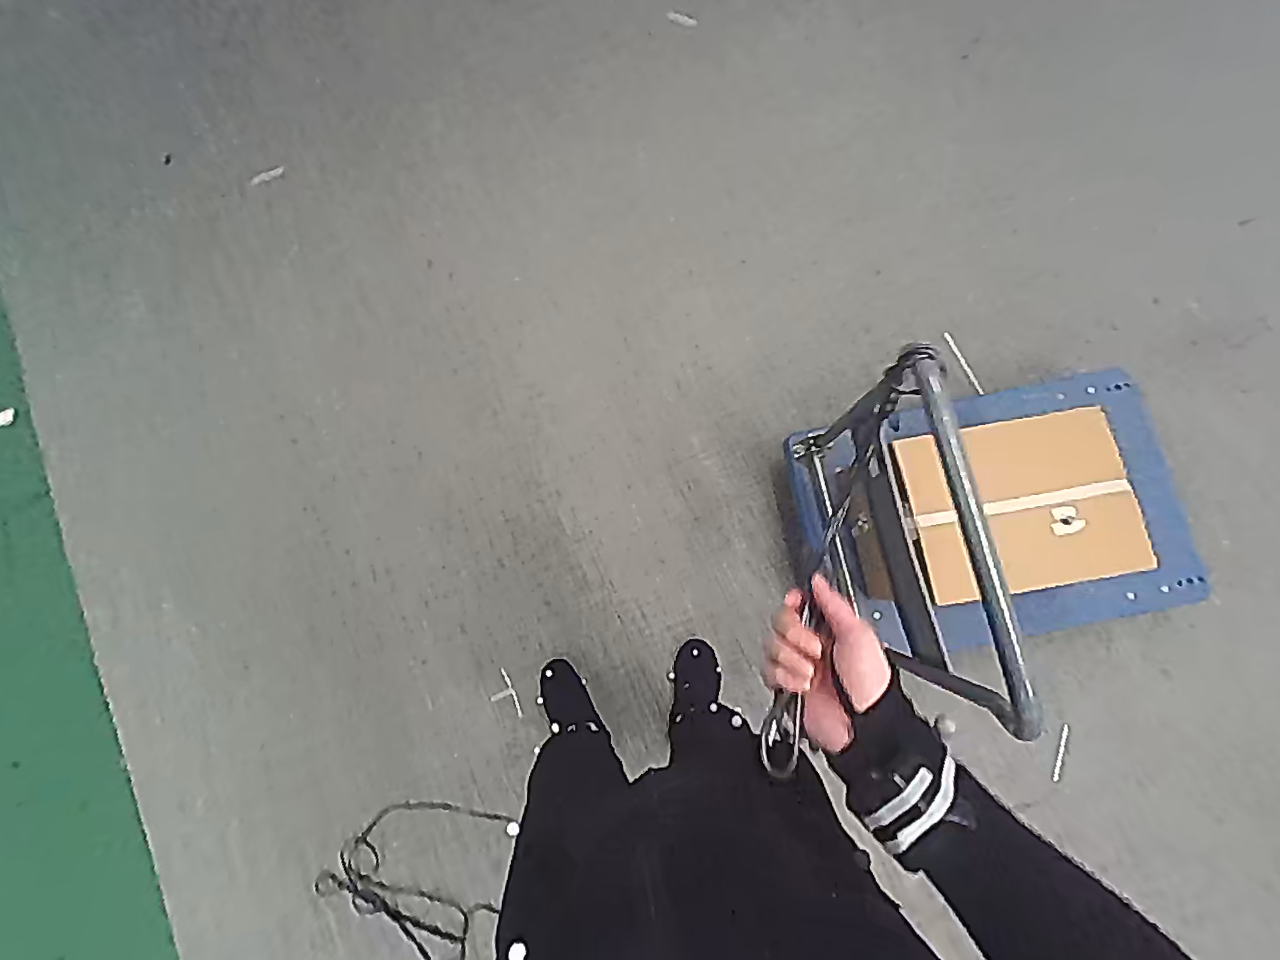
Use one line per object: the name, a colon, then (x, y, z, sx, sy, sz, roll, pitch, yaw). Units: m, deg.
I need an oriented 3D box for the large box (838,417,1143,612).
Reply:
large box: (0.700, 0.089, 1.155, 0.408, 0.320, 0.320, -9, 79, -1)
